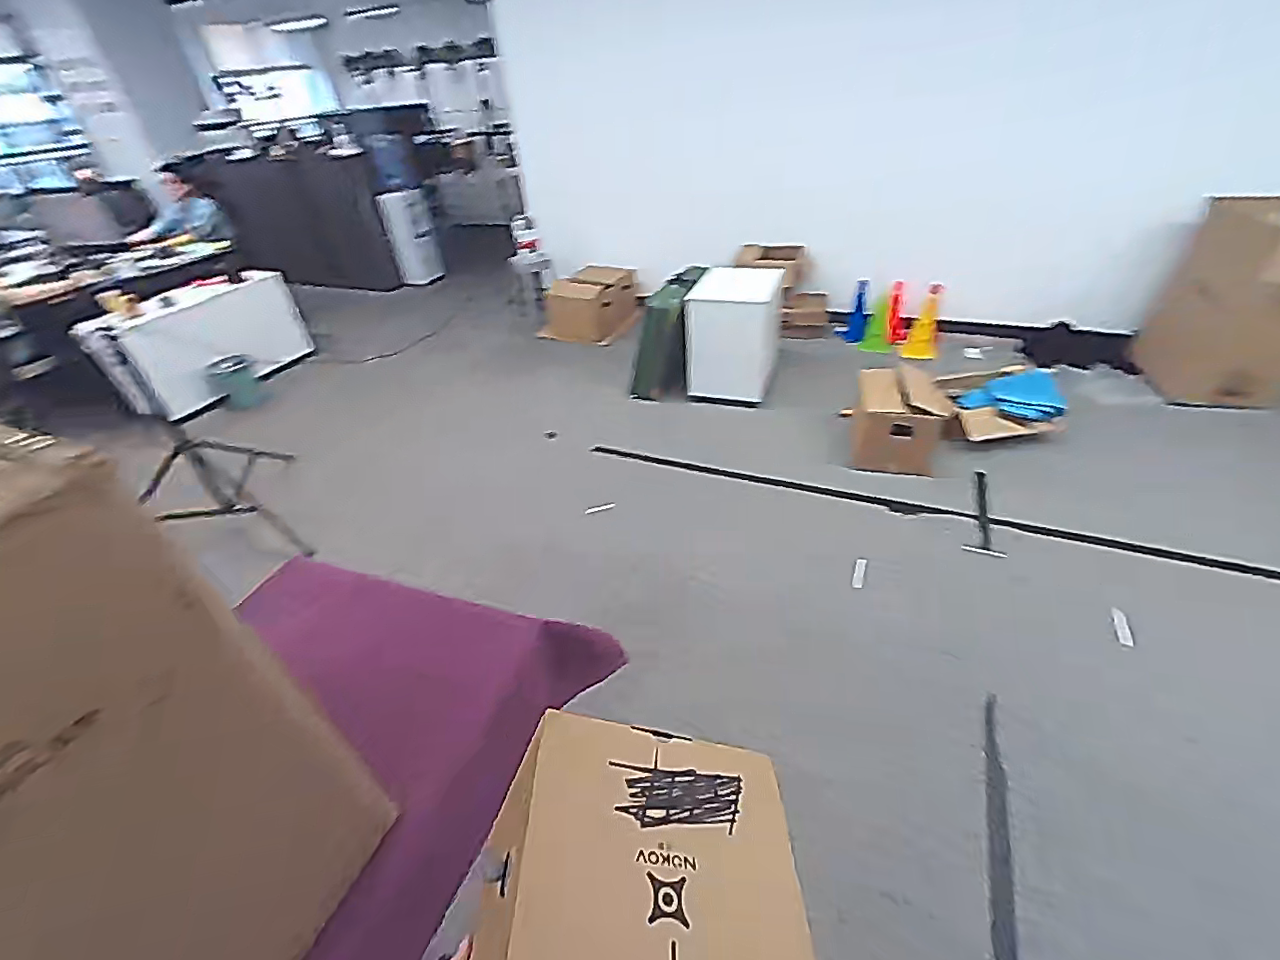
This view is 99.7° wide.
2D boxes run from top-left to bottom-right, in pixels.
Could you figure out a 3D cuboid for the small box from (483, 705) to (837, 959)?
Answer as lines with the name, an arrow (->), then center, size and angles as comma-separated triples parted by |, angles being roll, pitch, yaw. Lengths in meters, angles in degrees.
small box -> -0.002, 0.278, 0.331 | 0.168, 0.176, 0.179 | 16, 30, -11
